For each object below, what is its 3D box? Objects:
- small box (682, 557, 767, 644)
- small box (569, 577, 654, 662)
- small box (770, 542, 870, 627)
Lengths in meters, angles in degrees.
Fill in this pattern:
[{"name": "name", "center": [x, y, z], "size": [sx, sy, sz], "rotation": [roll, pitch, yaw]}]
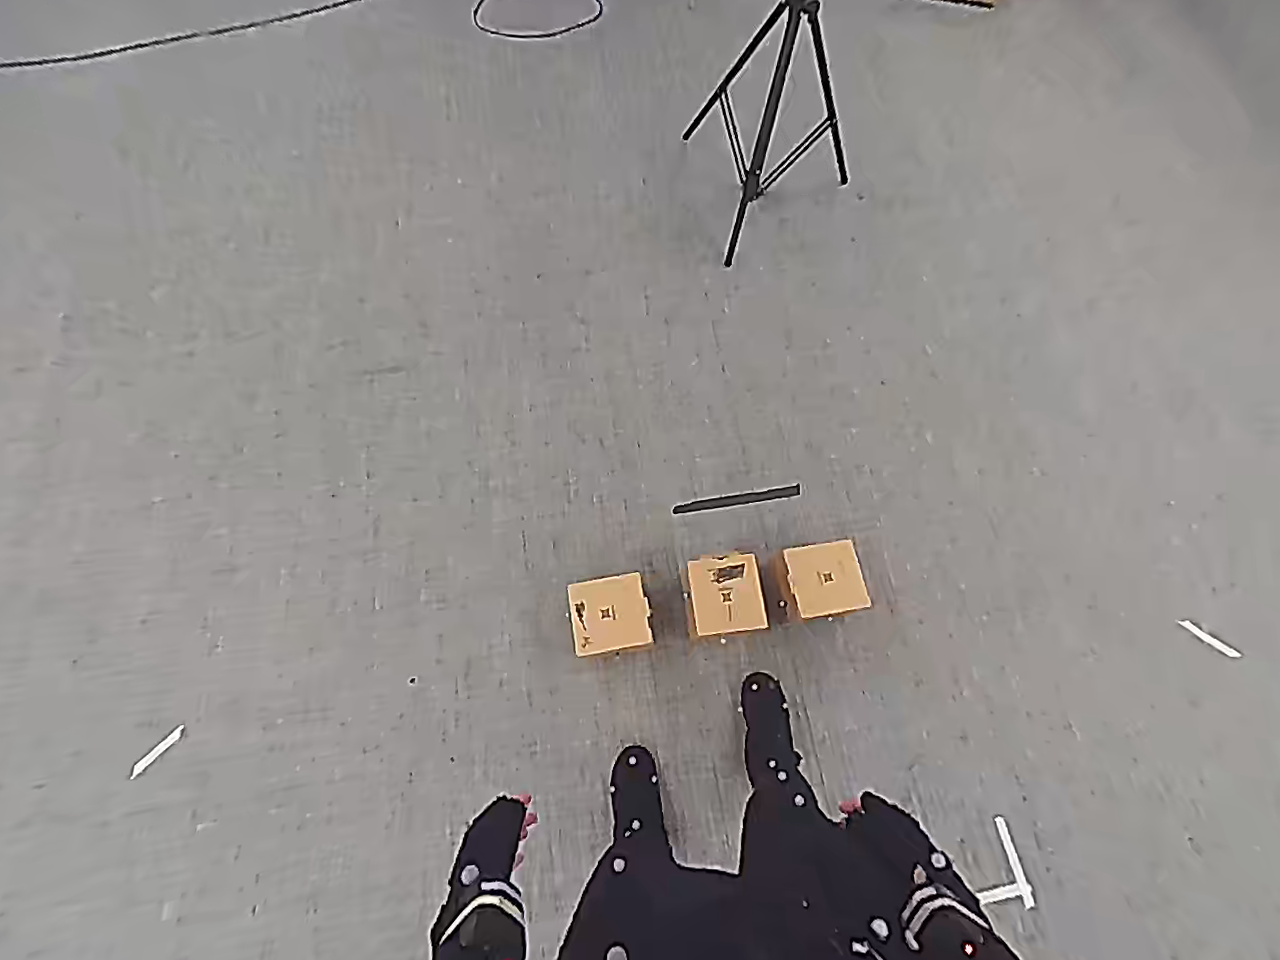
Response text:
[{"name": "small box", "center": [0.200, 0.300, 1.330], "size": [0.168, 0.176, 0.179], "rotation": [-6, 70, -3]}, {"name": "small box", "center": [-0.071, 0.342, 1.312], "size": [0.179, 0.176, 0.168], "rotation": [-9, 70, -5]}, {"name": "small box", "center": [0.435, 0.265, 1.348], "size": [0.179, 0.176, 0.168], "rotation": [-9, 71, -5]}]
